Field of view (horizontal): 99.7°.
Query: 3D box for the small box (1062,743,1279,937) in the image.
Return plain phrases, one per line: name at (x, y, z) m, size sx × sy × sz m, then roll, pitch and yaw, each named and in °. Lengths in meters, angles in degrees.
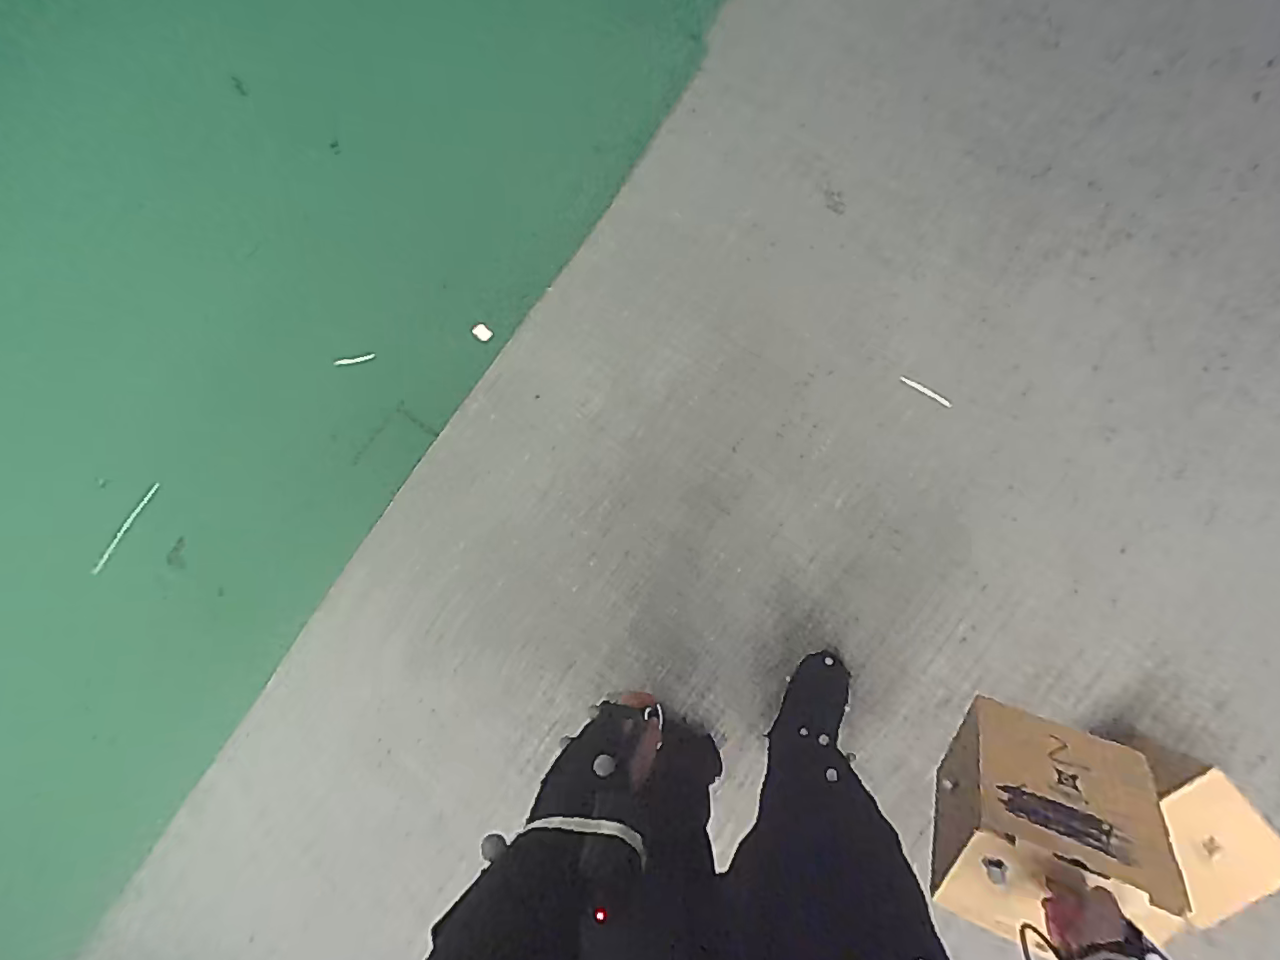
small box at (0.850, 0.562, 0.874) m, size 0.179 × 0.176 × 0.168 m, roll -36°, pitch 76°, yaw 5°
